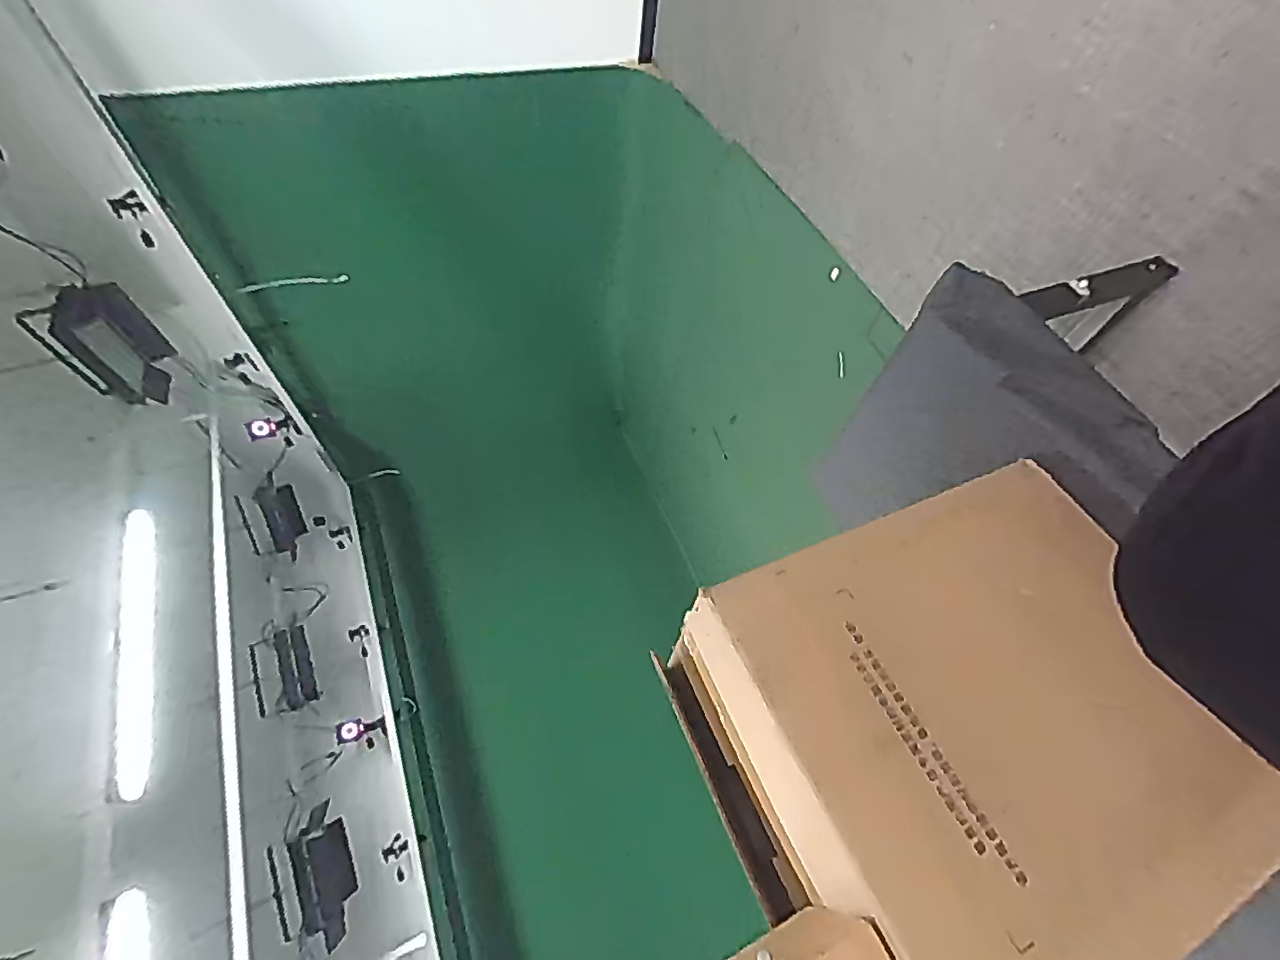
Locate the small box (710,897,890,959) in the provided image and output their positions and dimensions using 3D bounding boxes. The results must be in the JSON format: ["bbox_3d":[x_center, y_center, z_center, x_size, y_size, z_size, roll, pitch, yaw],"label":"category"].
[{"bbox_3d":[0.180,0.569,0.559,0.179,0.176,0.168,99,149,-55],"label":"small box"}]
